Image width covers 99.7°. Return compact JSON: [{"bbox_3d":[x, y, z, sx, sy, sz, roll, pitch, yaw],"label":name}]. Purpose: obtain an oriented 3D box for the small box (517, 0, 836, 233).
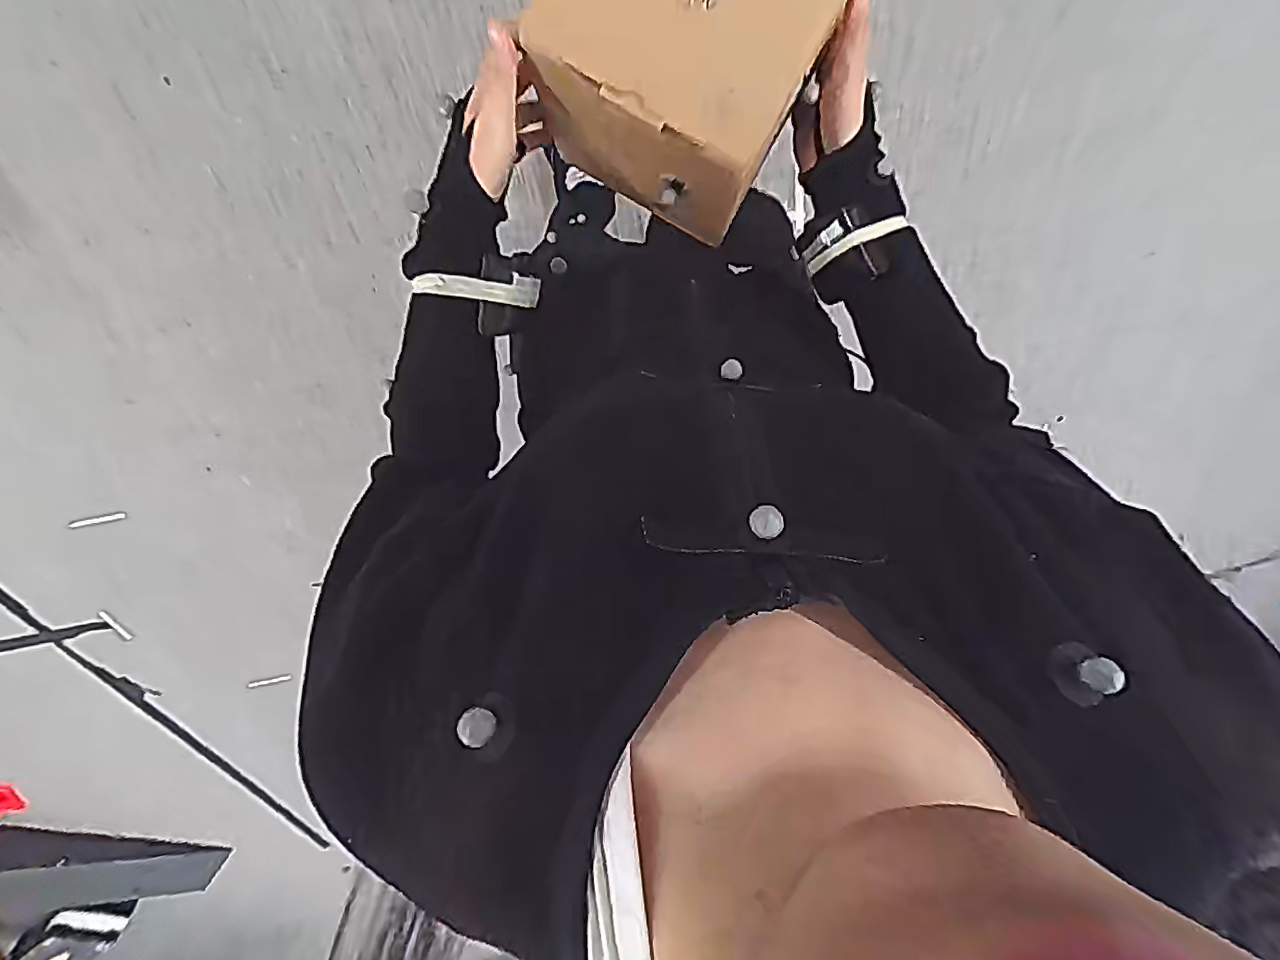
[{"bbox_3d":[0.036,-0.321,0.403,0.168,0.176,0.179,28,94,-2],"label":"small box"}]
